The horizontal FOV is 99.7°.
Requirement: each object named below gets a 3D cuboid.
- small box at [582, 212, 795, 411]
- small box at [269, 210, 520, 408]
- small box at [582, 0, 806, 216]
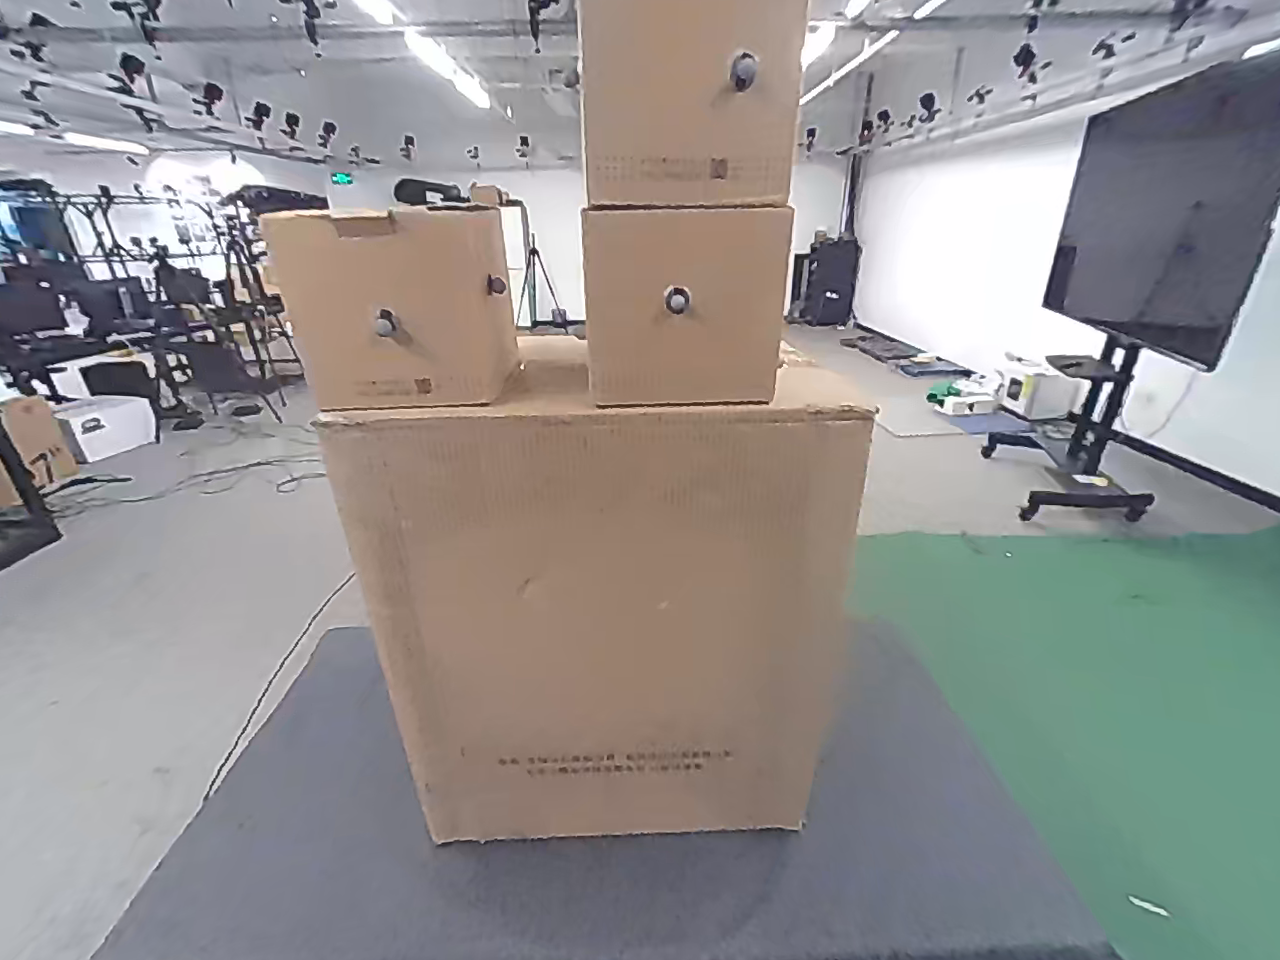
[{"bbox_3d":[0.038,-0.173,0.541,0.179,0.176,0.168,-1,26,-1],"label":"small box"},{"bbox_3d":[-0.223,-0.176,0.551,0.168,0.176,0.179,-1,27,-2],"label":"small box"},{"bbox_3d":[0.034,-0.321,0.477,0.168,0.176,0.179,-1,25,-6],"label":"small box"}]
